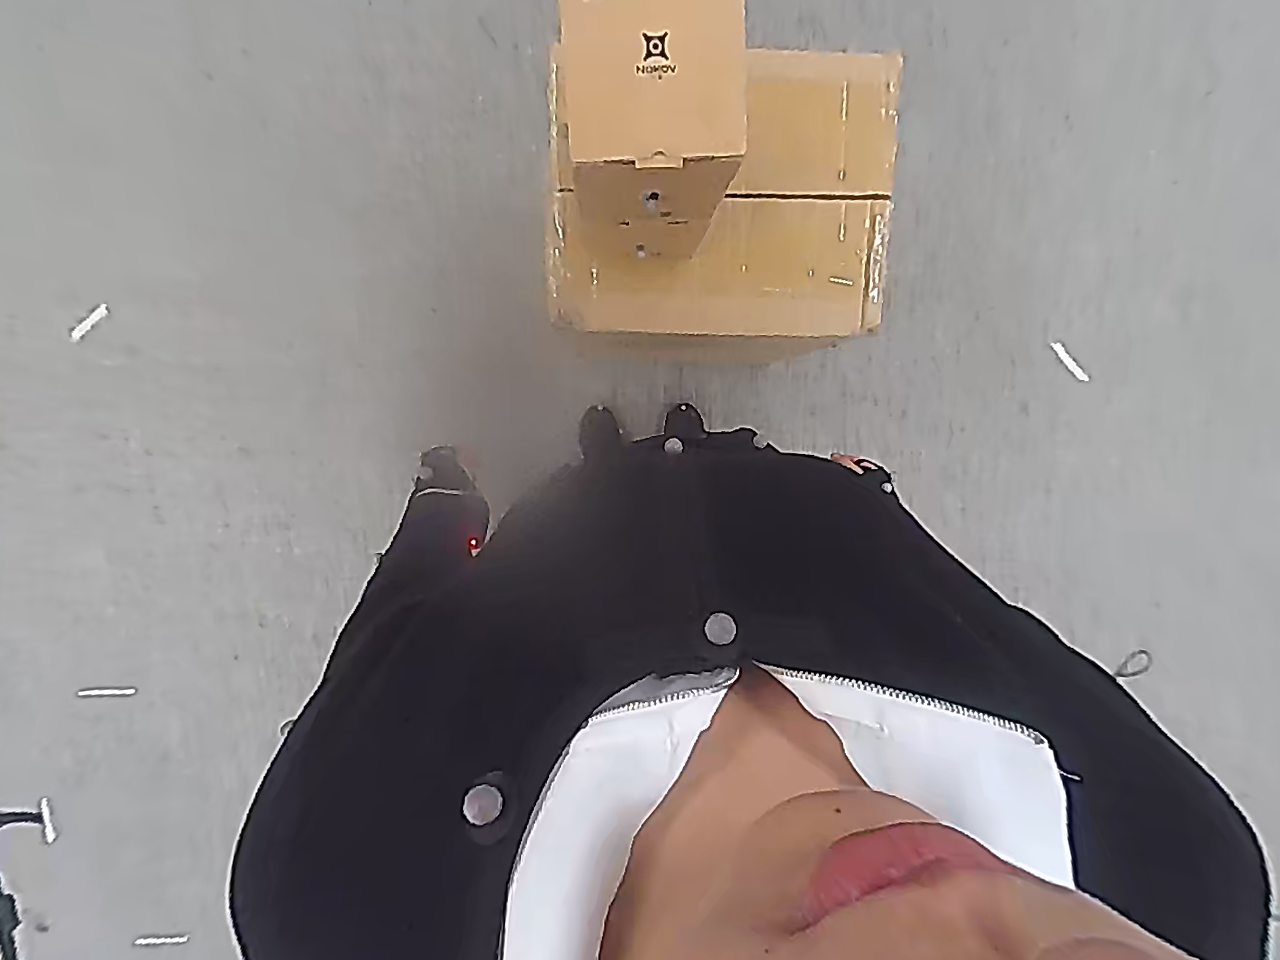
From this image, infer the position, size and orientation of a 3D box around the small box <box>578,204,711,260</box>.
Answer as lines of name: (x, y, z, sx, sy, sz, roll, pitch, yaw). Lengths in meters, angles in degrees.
small box: (0.000, -0.412, 0.731, 0.168, 0.176, 0.179, -2, 98, -3)

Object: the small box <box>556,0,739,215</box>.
small box: (0.006, -0.391, 0.568, 0.168, 0.176, 0.179, -4, 99, -3)
